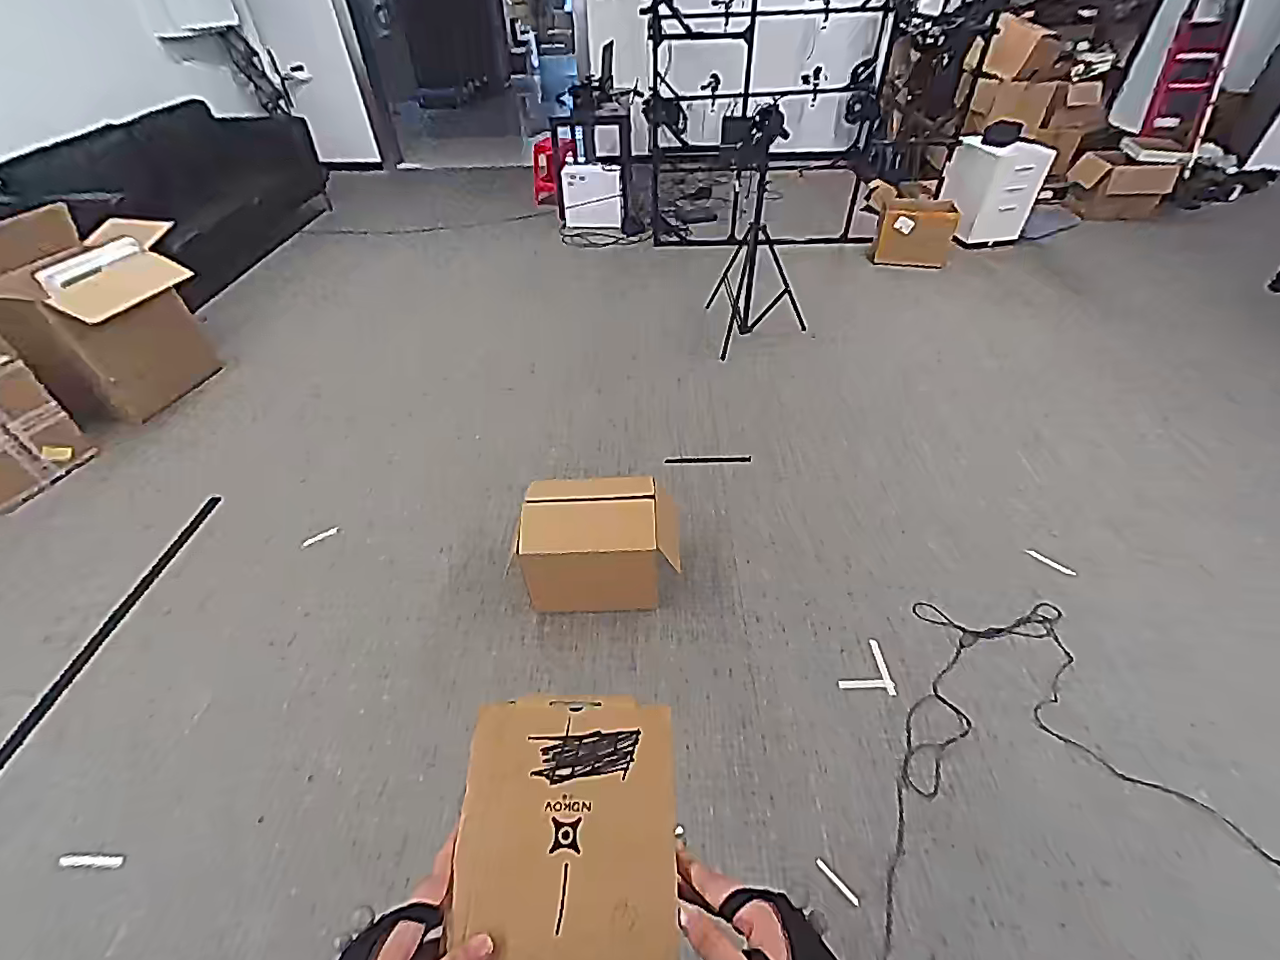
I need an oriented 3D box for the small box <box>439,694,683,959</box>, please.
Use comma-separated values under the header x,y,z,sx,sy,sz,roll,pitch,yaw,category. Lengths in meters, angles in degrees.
x,y,z,sx,sy,sz,roll,pitch,yaw,category
-0.055,0.302,0.471,0.168,0.176,0.179,1,53,-2,small box
